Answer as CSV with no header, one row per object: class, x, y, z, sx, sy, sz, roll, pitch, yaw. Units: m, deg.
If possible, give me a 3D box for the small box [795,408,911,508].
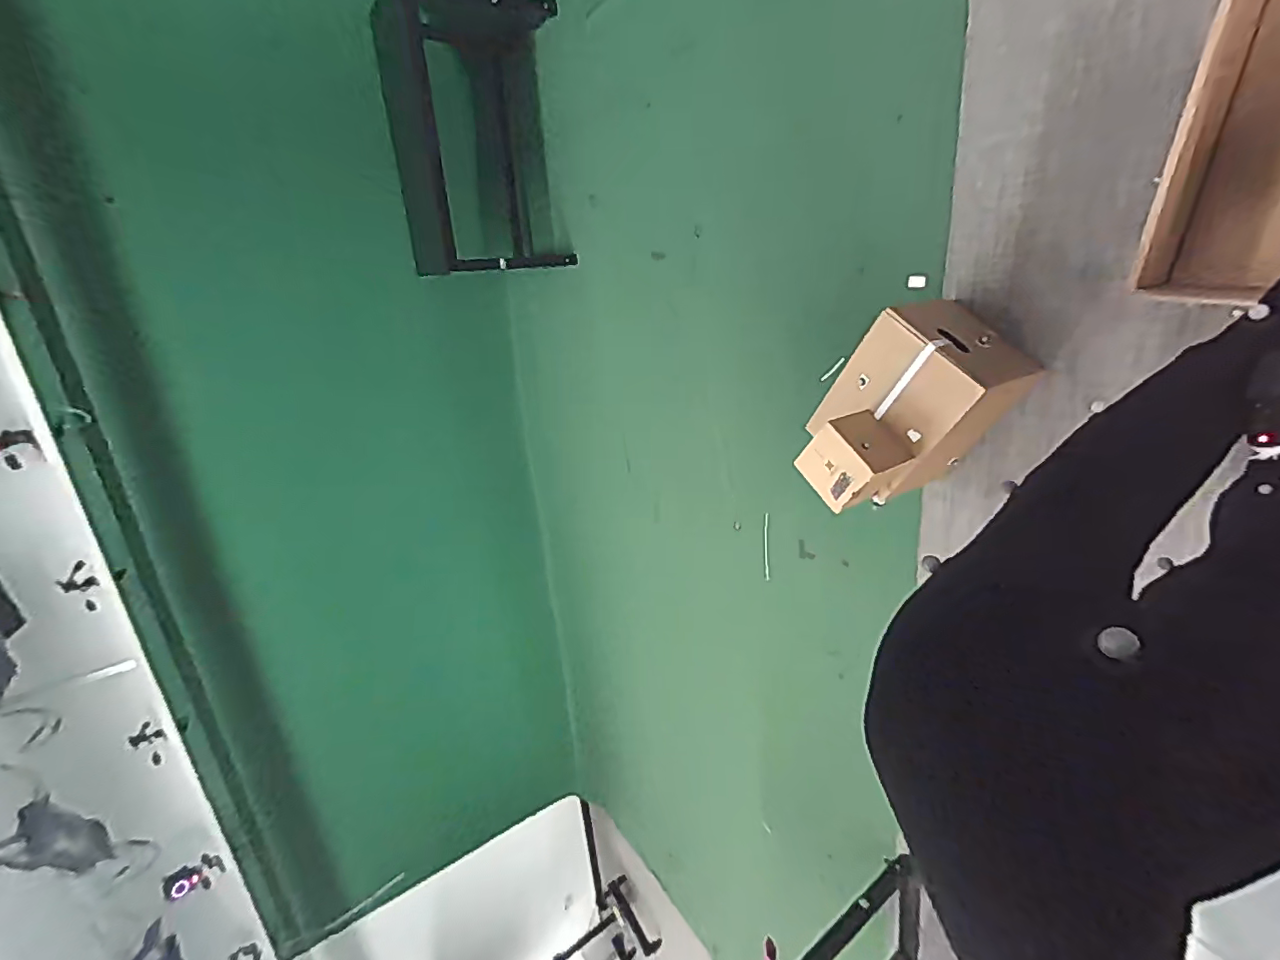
small box,0.539,-0.061,1.365,0.179,0.176,0.168,57,144,25
